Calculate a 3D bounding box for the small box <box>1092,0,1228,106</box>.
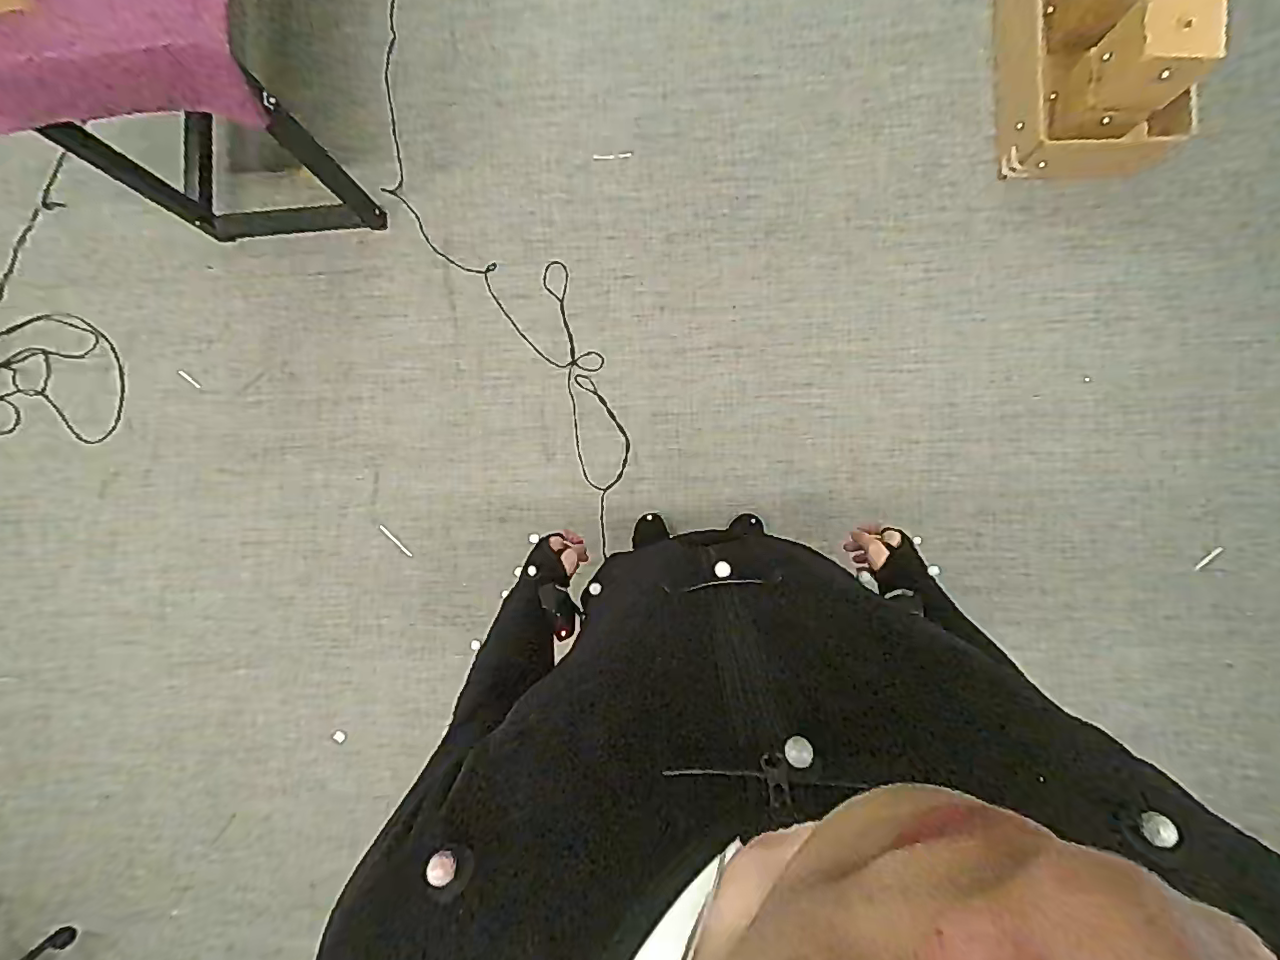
[{"bbox_3d":[1.274,-1.060,1.334,0.179,0.176,0.168,4,88,5],"label":"small box"}]
